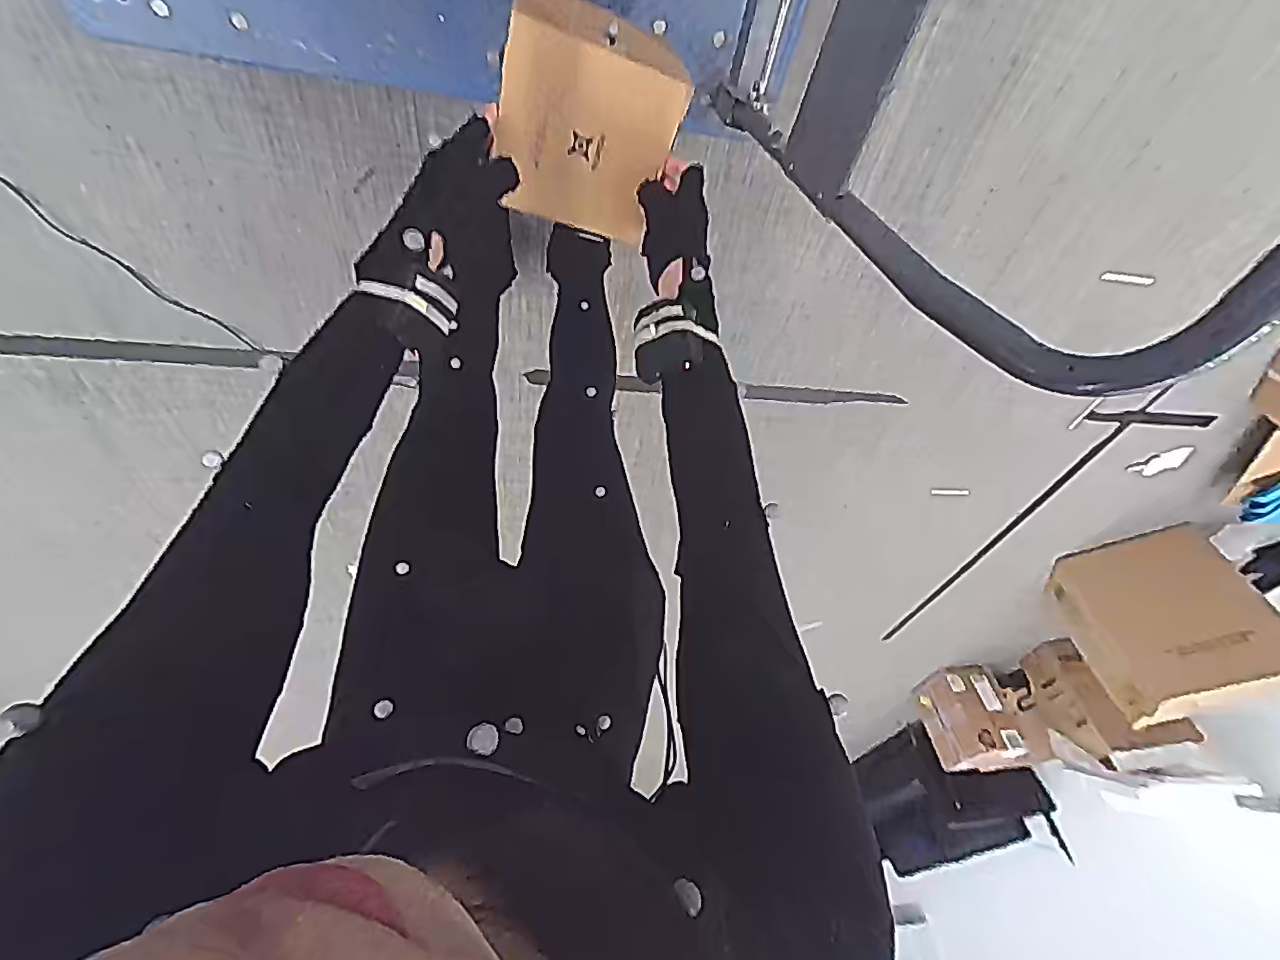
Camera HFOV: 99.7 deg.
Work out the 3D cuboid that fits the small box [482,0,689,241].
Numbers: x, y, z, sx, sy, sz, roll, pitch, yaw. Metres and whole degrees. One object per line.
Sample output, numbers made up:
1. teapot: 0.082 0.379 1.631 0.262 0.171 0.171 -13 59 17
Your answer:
1. small box: -0.068 -0.403 0.597 0.179 0.176 0.168 9 138 -20
